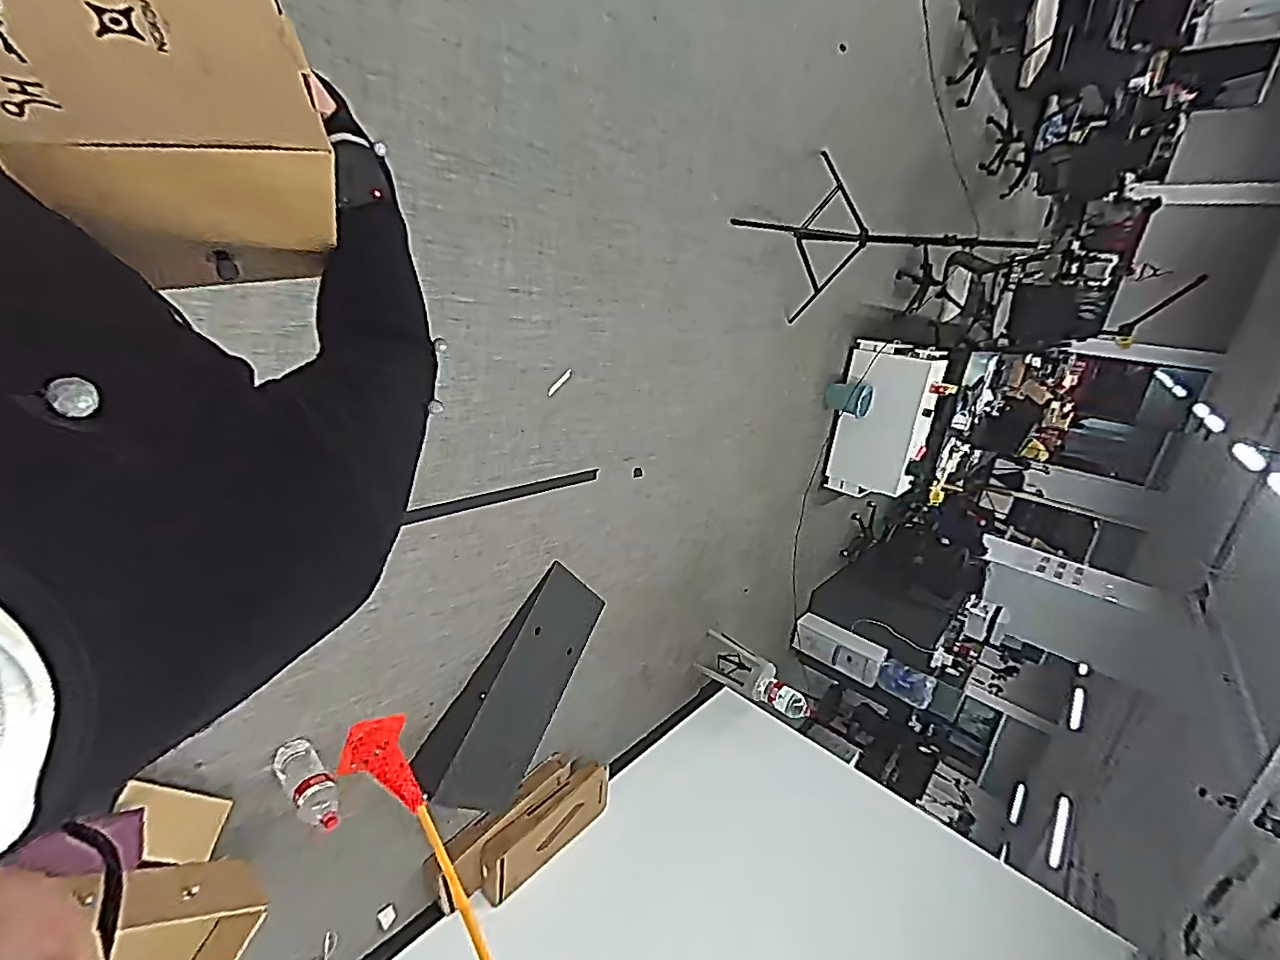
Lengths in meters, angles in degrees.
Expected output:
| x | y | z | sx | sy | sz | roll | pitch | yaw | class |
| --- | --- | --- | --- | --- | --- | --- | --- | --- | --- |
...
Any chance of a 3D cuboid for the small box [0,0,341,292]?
| x | y | z | sx | sy | sz | roll | pitch | yaw | class |
| --- | --- | --- | --- | --- | --- | --- | --- | --- | --- |
| -0.355 | -0.269 | 0.423 | 0.179 | 0.176 | 0.168 | -20 | 87 | -31 | small box |
